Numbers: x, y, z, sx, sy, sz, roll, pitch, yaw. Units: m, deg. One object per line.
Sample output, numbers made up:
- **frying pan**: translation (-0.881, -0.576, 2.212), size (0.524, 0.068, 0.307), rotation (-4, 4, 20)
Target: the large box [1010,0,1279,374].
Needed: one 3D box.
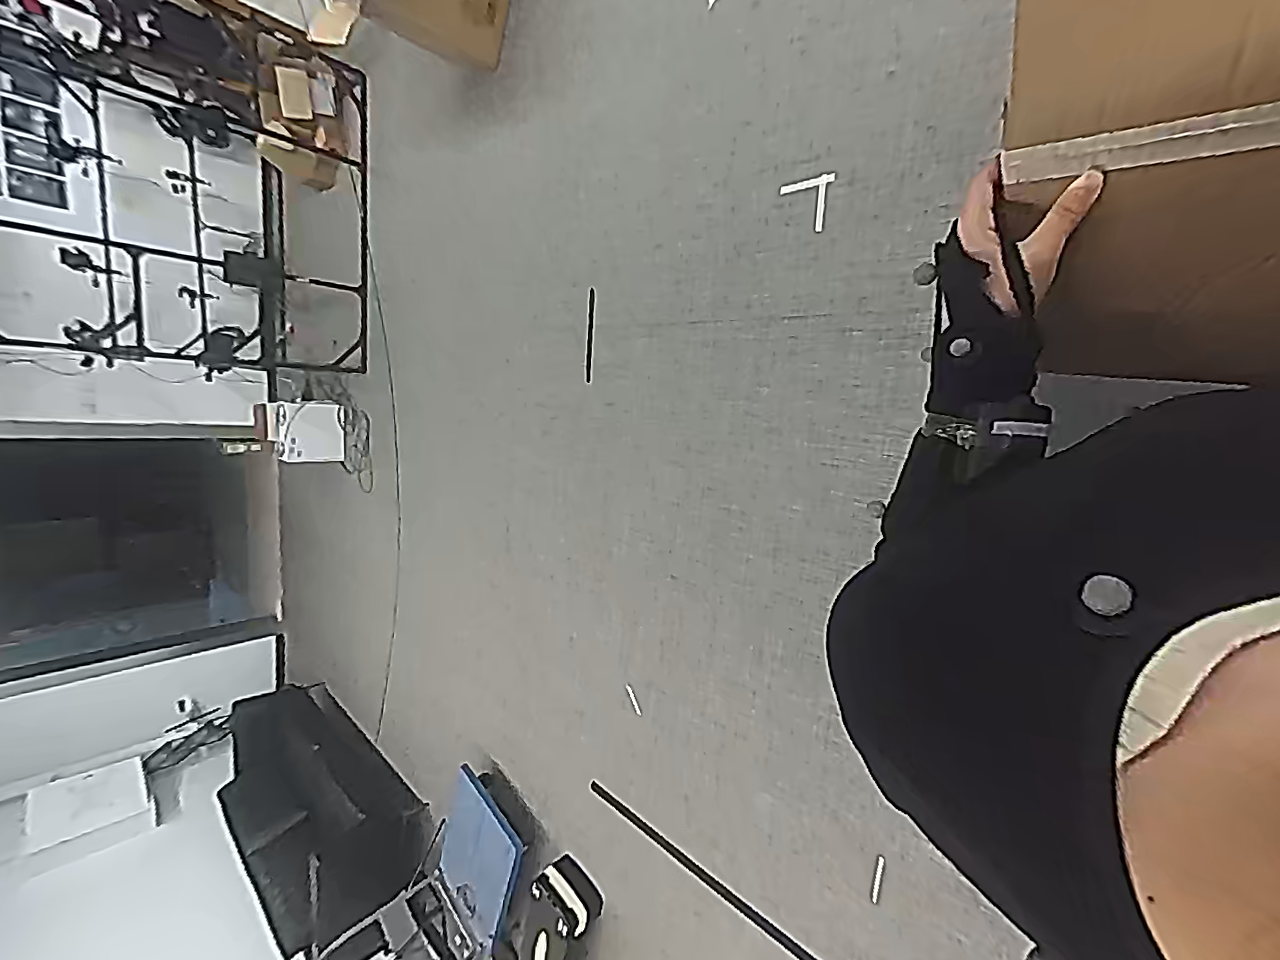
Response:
- **large box**: translation (0.488, -0.267, 0.307), size (0.408, 0.320, 0.320), rotation (15, 139, 43)
